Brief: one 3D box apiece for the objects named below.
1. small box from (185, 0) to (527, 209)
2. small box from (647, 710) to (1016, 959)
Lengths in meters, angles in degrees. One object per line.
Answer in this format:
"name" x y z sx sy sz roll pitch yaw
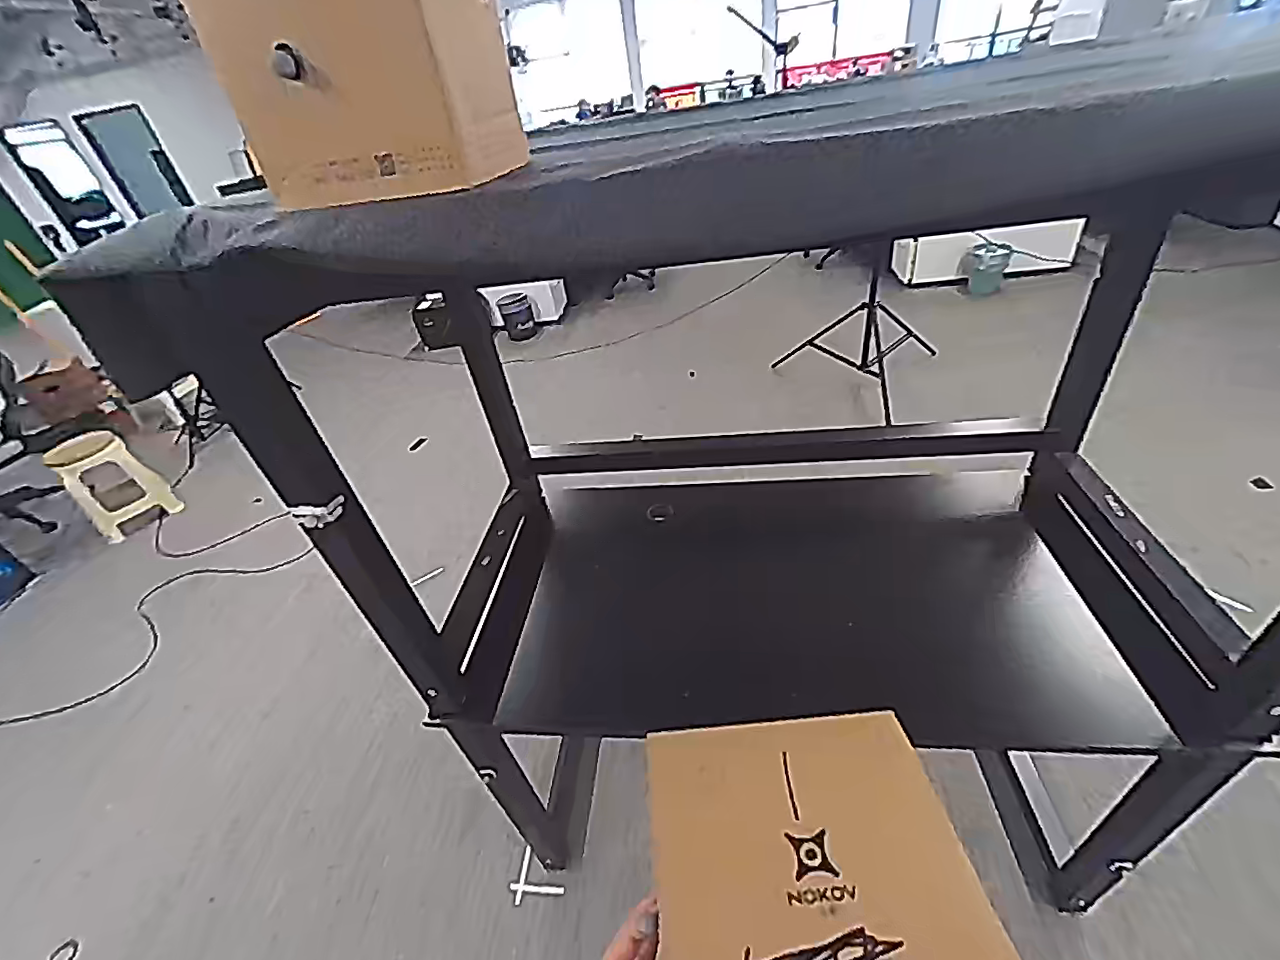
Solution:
"small box" -0.206 -0.330 0.444 0.168 0.176 0.179 -2 35 9
"small box" 0.095 0.271 0.325 0.168 0.176 0.179 -5 33 -1
